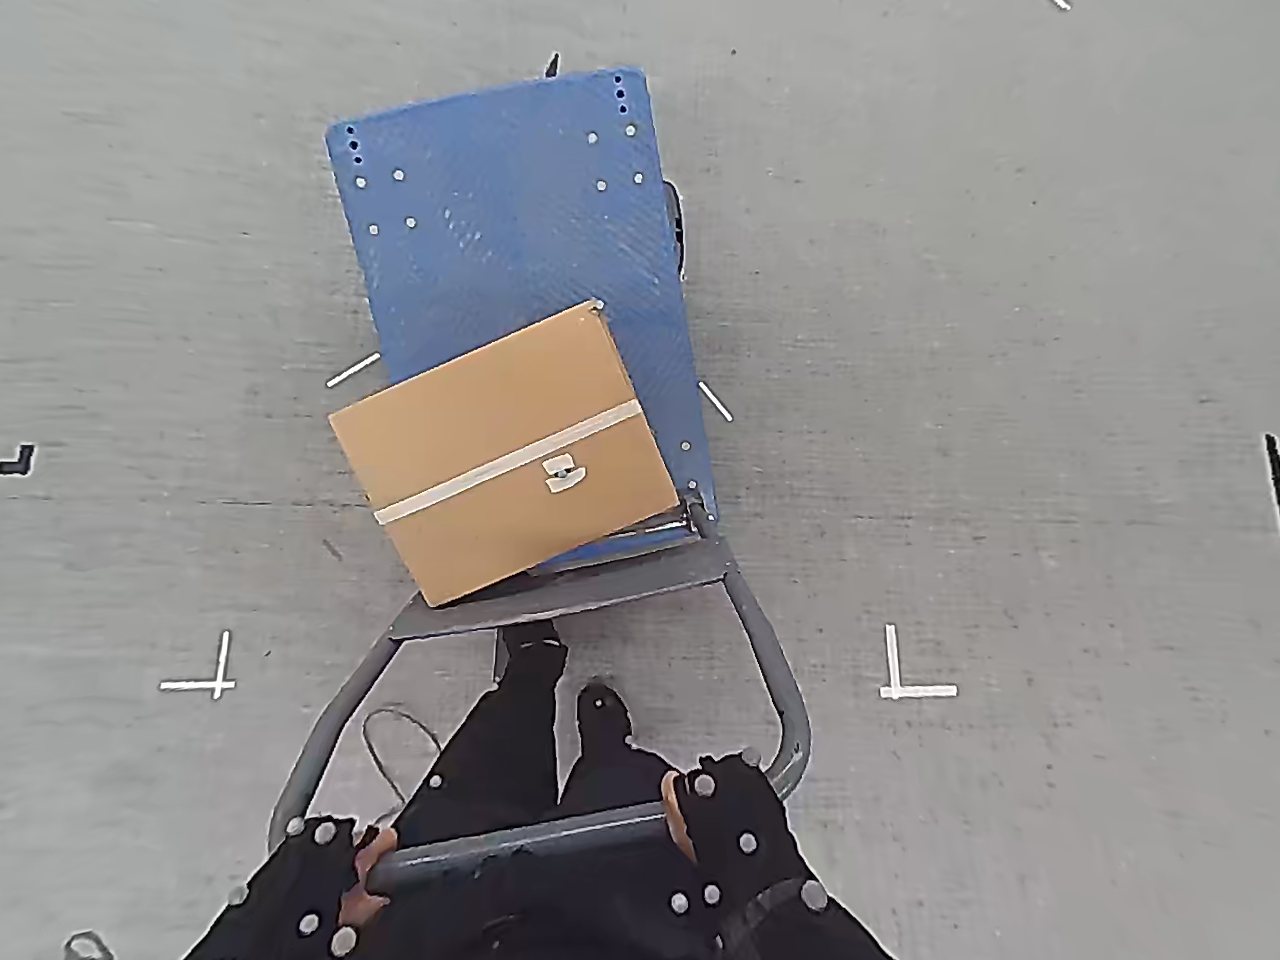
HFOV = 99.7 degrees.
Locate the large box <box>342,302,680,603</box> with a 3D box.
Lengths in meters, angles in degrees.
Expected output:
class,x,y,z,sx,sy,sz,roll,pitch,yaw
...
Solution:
class,x,y,z,sx,sy,sz,roll,pitch,yaw
large box,-0.188,-0.054,0.919,0.408,0.320,0.320,-23,101,1
